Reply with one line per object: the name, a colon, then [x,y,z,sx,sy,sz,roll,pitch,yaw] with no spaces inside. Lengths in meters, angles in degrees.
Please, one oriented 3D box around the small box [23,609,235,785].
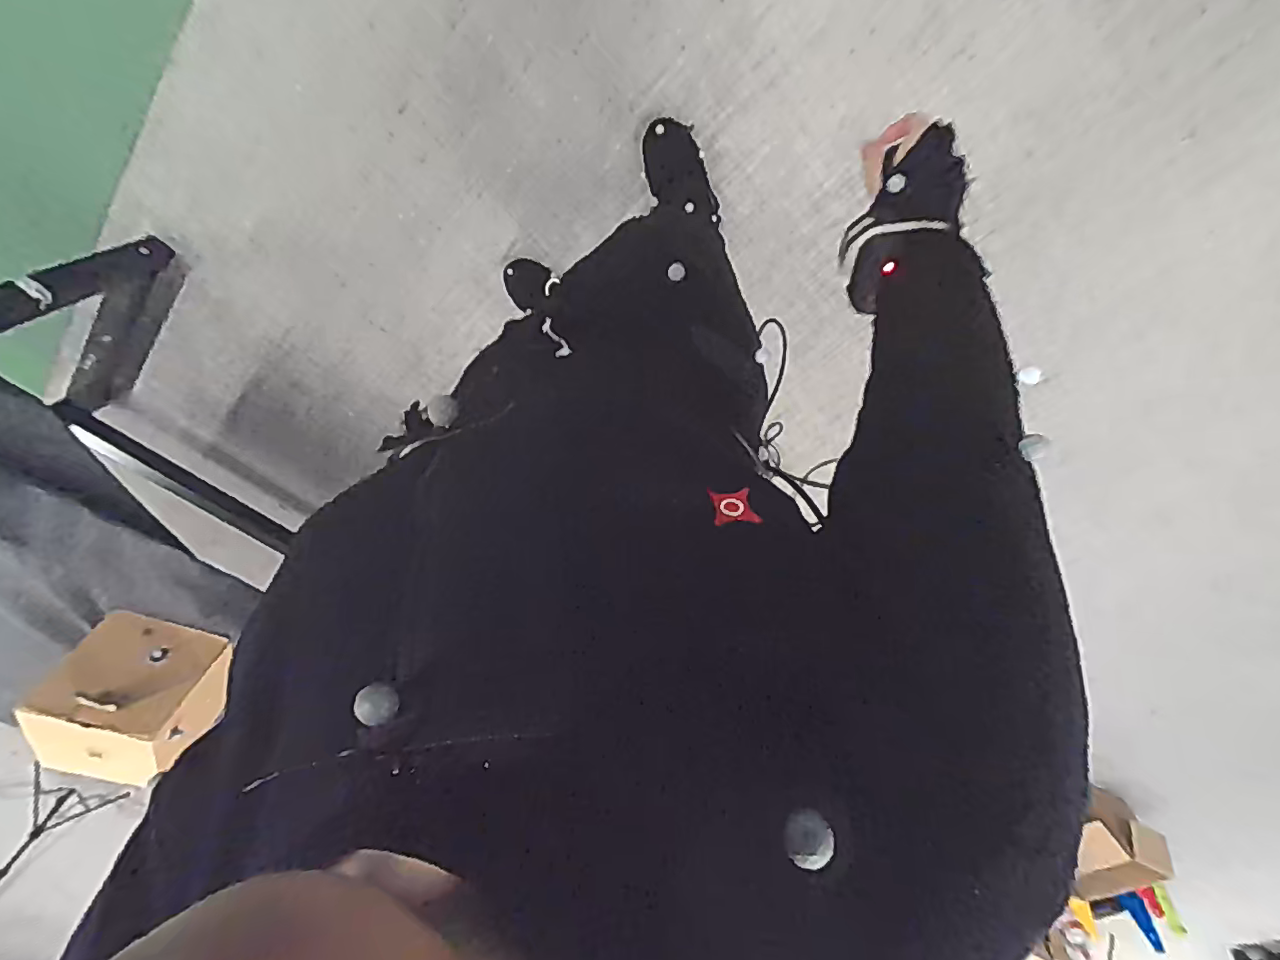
small box: [-0.761,0.333,0.833,0.168,0.176,0.179,21,125,-12]
